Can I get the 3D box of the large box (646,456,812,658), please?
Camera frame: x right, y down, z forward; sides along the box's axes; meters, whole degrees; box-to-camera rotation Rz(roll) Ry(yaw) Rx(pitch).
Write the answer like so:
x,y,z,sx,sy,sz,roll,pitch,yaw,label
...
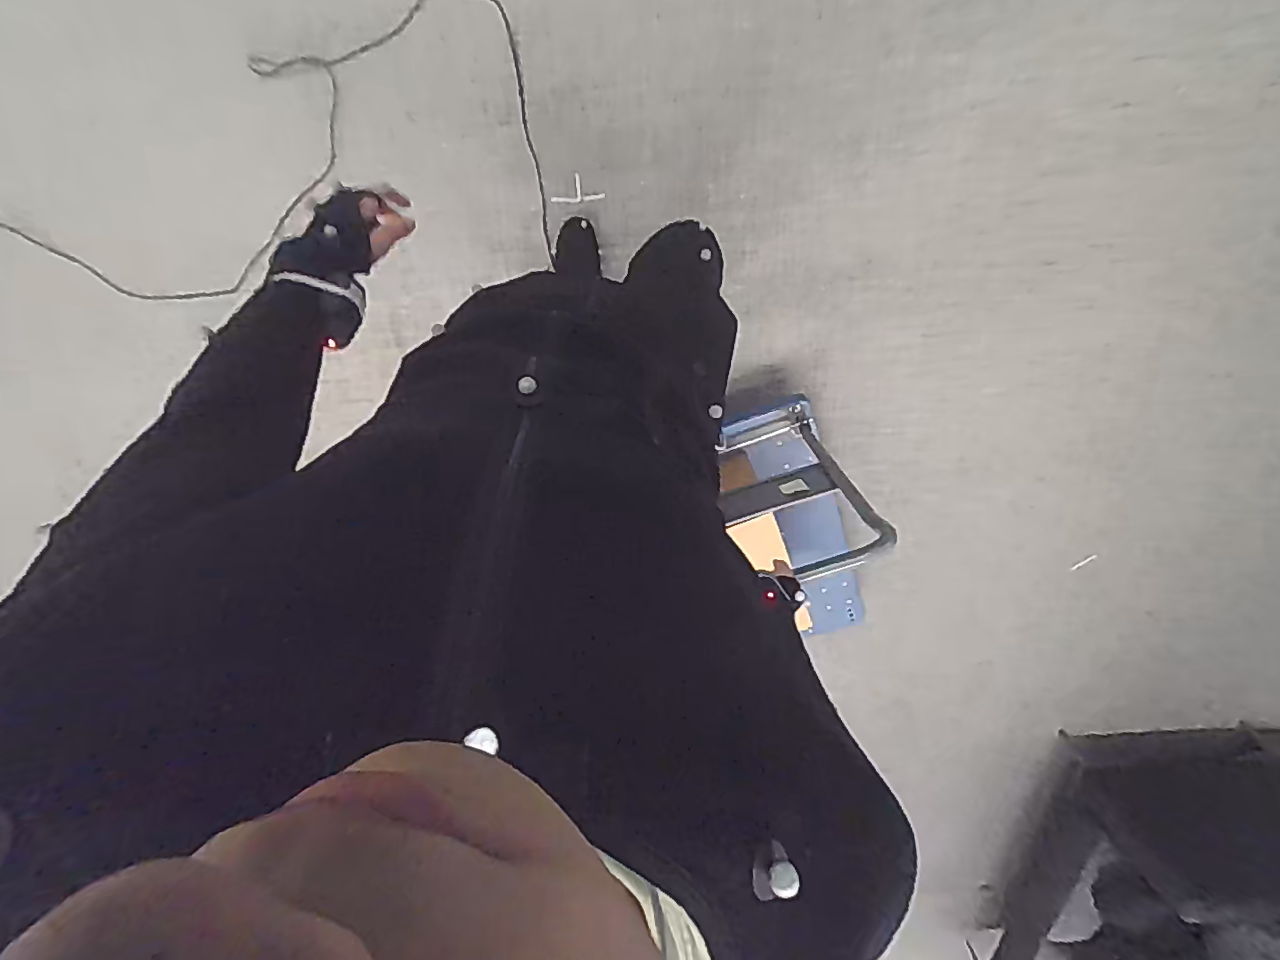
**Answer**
x,y,z,sx,sy,sz,roll,pitch,yaw,label
0.238,0.209,1.506,0.320,0.320,0.408,-20,118,9,large box
